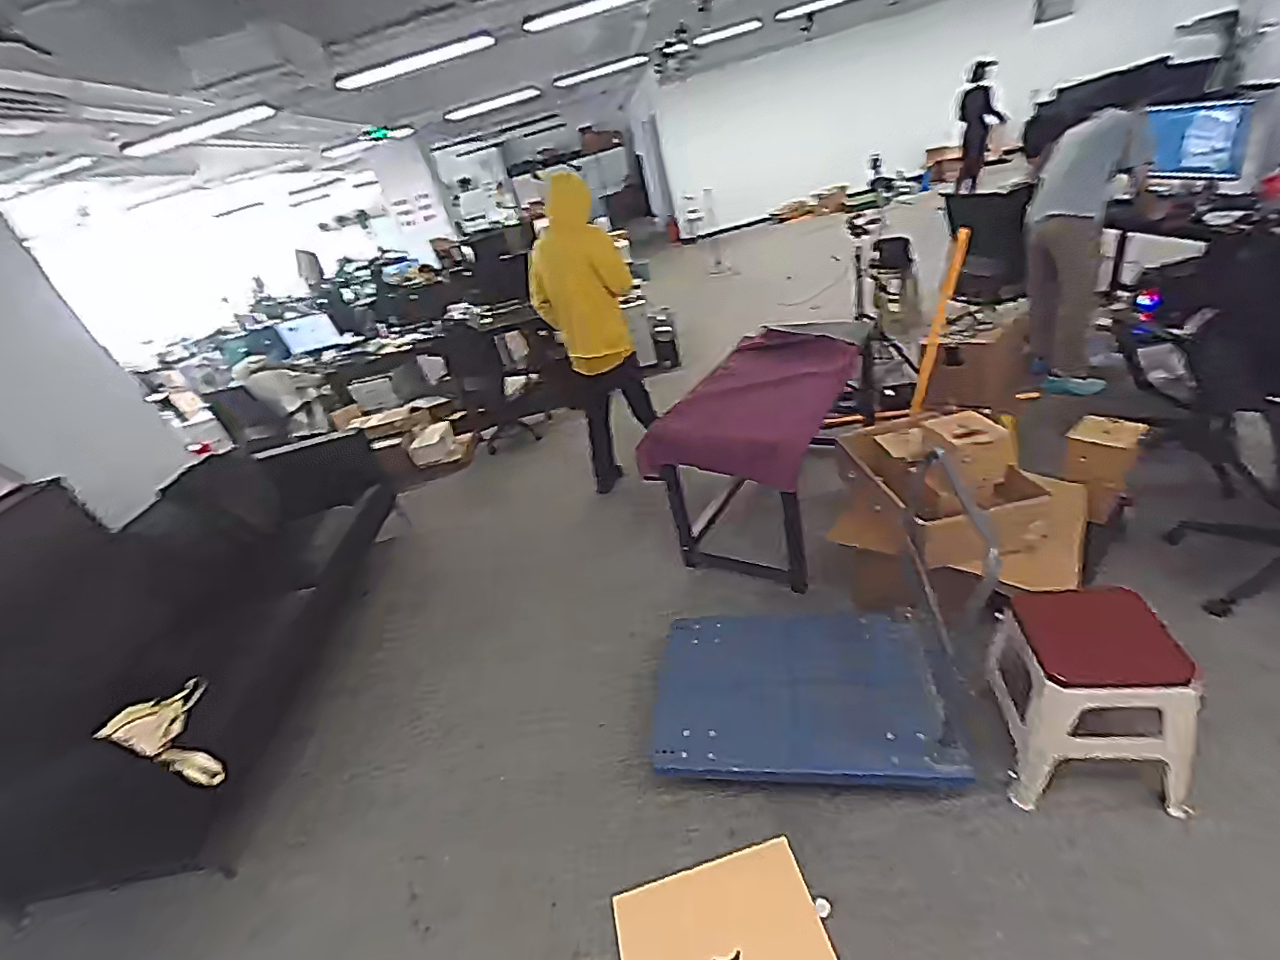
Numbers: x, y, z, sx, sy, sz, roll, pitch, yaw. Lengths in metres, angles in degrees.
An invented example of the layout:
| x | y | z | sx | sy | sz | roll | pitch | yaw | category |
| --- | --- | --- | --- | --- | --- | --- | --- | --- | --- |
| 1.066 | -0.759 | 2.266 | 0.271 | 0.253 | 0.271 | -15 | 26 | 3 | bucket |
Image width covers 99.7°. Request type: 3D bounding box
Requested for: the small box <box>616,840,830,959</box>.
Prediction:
| x | y | z | sx | sy | sz | roll | pitch | yaw | category |
| --- | --- | --- | --- | --- | --- | --- | --- | --- | --- |
| 0.085 | 0.460 | 0.461 | 0.168 | 0.176 | 0.179 | -16 | 31 | -3 | small box |
